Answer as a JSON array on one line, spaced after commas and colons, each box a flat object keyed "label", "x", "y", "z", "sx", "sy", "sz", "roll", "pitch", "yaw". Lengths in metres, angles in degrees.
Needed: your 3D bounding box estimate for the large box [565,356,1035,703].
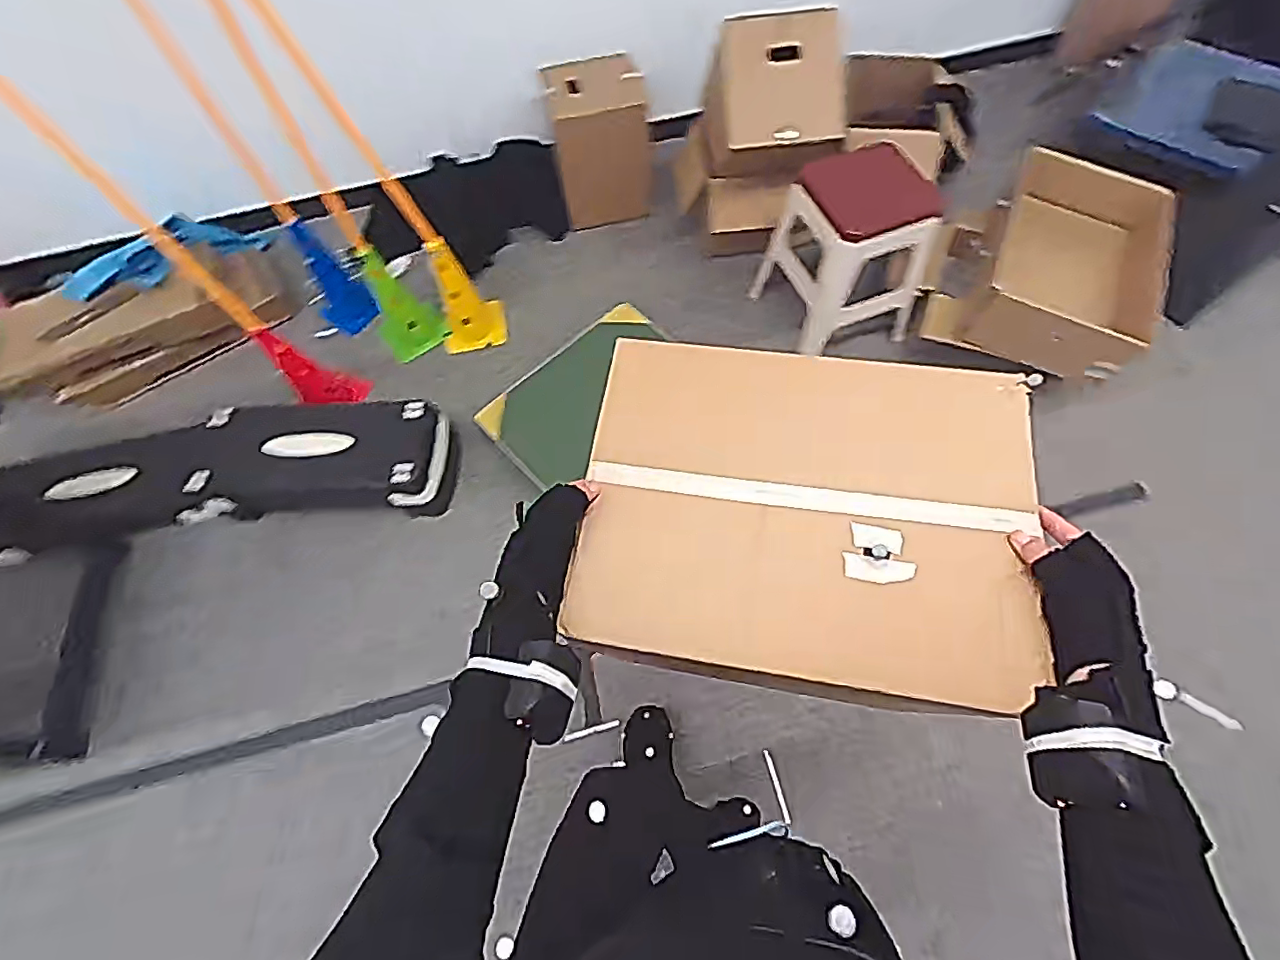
[{"label": "large box", "x": 0.154, "y": 0.078, "z": 0.651, "sx": 0.408, "sy": 0.320, "sz": 0.320, "roll": 6, "pitch": 70, "yaw": 7}]
